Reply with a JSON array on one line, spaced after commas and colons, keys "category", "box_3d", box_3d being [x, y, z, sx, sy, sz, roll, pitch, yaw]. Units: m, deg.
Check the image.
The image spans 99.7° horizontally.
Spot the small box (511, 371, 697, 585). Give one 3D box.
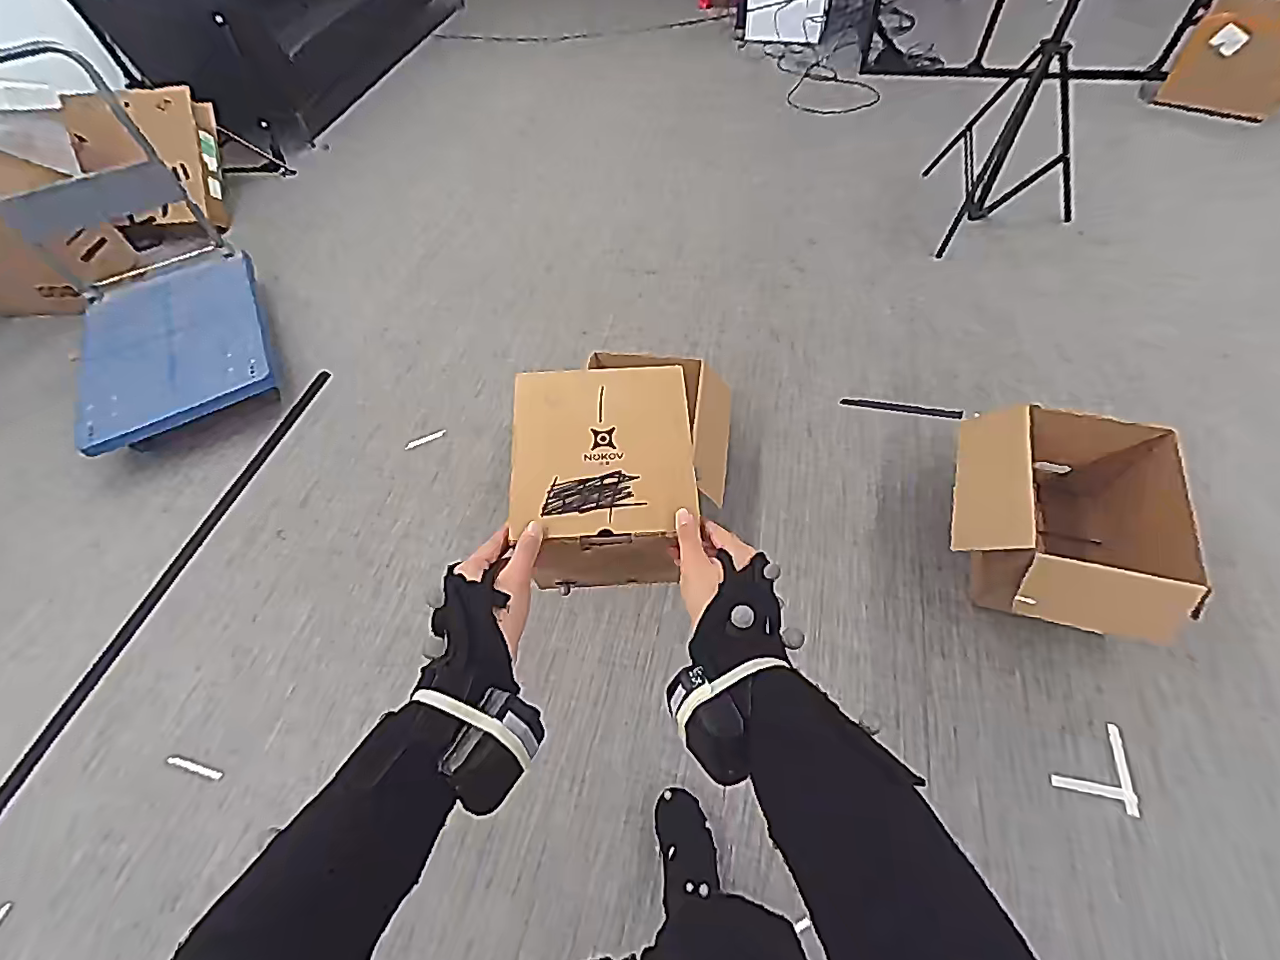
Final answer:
[{"category": "small box", "box_3d": [-0.035, 0.007, 0.572, 0.168, 0.176, 0.179, -3, 64, -3]}]
